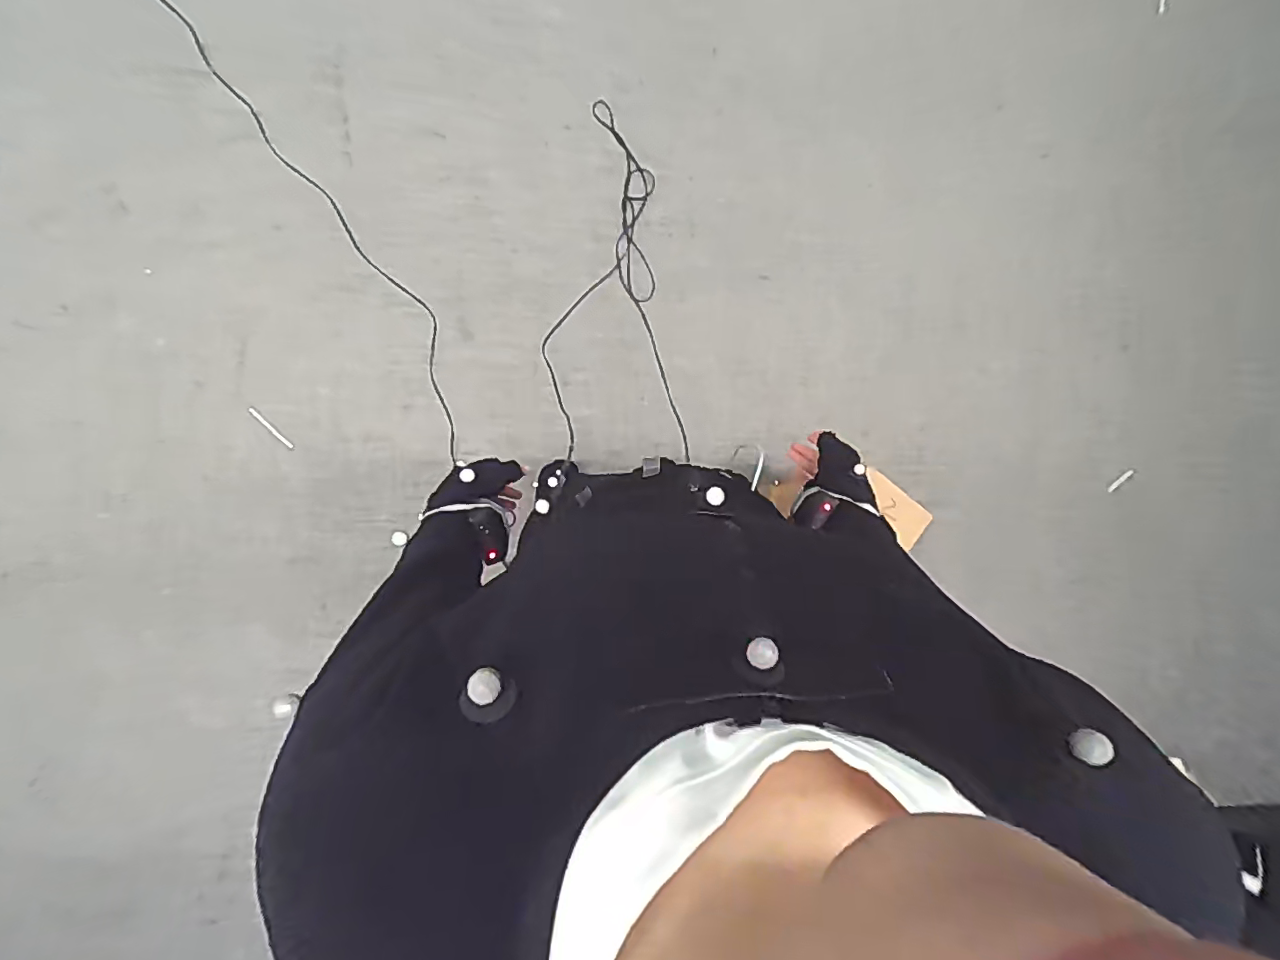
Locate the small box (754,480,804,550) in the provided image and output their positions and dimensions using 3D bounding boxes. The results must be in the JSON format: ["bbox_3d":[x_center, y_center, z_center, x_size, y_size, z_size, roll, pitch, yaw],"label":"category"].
[{"bbox_3d":[0.408,0.087,1.430,0.179,0.176,0.168,-4,93,-6],"label":"small box"}]

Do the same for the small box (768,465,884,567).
[{"bbox_3d":[0.430,0.077,1.283,0.168,0.176,0.179,31,90,-6],"label":"small box"}]
